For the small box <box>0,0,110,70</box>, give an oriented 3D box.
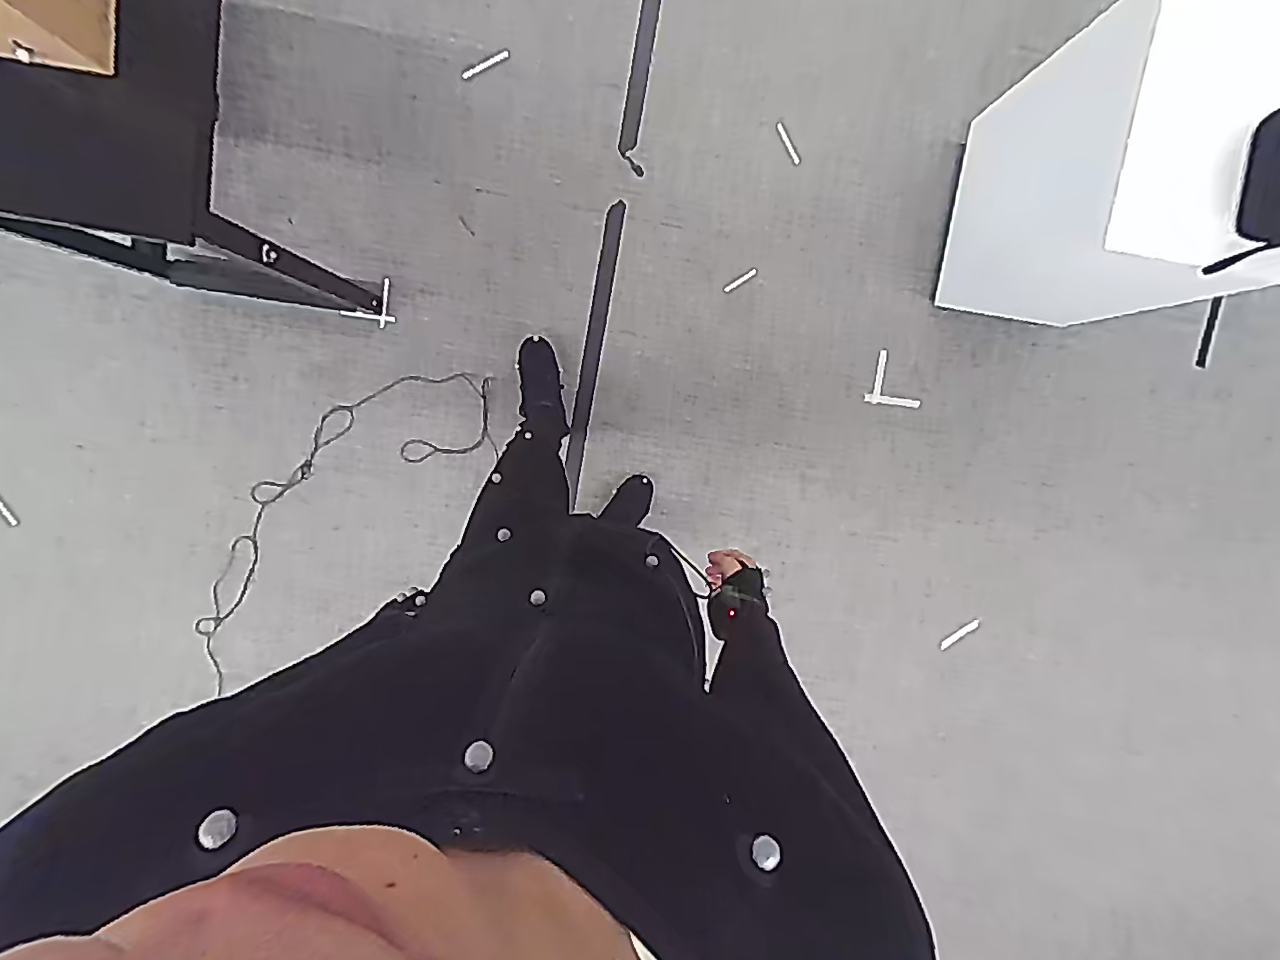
[{"bbox_3d":[-0.828,-0.664,0.684,0.179,0.176,0.168,7,96,-4],"label":"small box"}]
